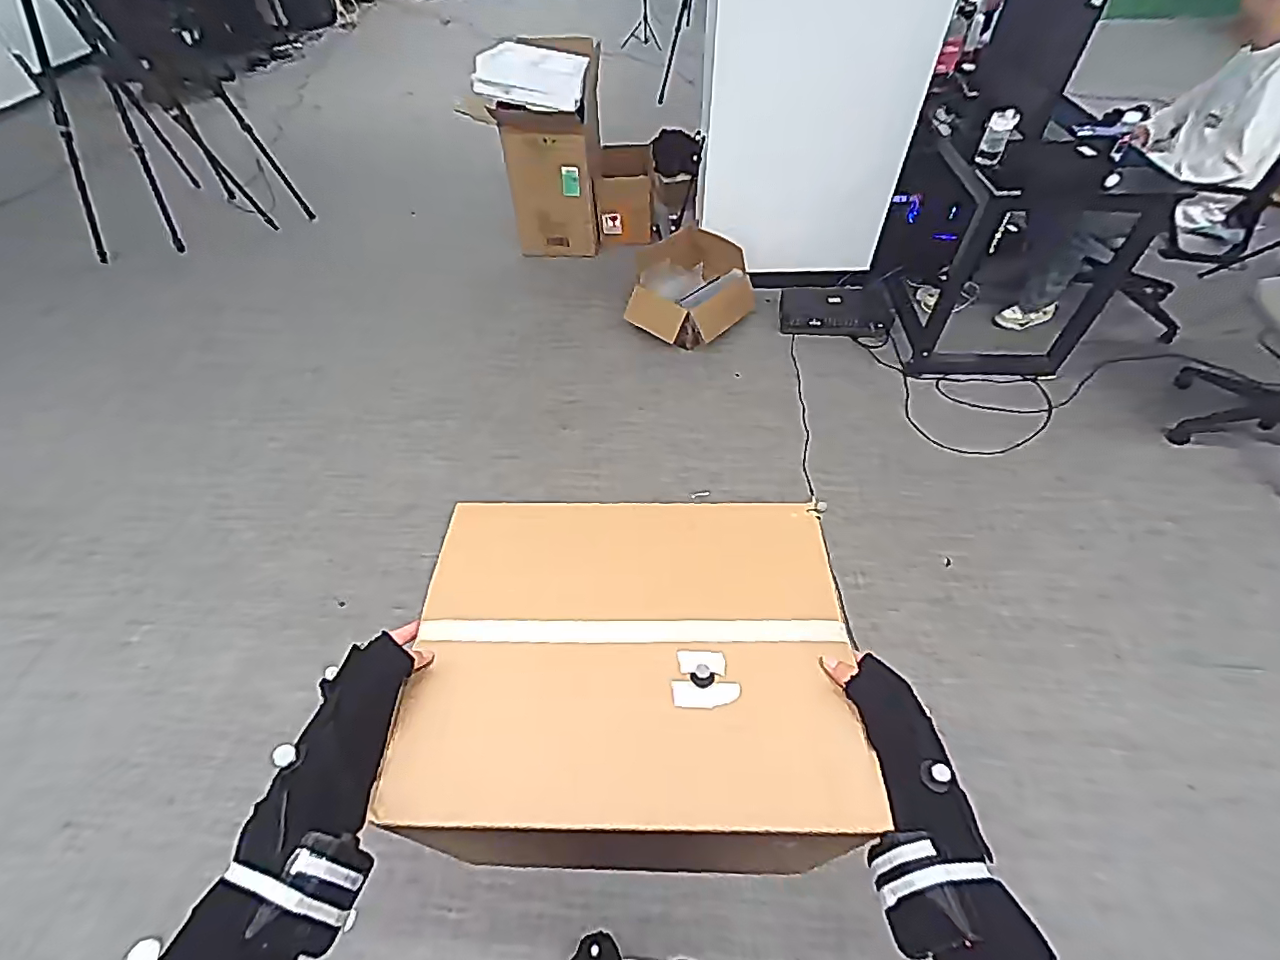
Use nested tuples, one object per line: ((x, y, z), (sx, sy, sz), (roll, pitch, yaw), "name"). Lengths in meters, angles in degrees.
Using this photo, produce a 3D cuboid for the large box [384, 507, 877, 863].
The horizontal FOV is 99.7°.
((-0.006, 0.244, 0.636), (0.408, 0.320, 0.320), (0, 50, 2), "large box")
